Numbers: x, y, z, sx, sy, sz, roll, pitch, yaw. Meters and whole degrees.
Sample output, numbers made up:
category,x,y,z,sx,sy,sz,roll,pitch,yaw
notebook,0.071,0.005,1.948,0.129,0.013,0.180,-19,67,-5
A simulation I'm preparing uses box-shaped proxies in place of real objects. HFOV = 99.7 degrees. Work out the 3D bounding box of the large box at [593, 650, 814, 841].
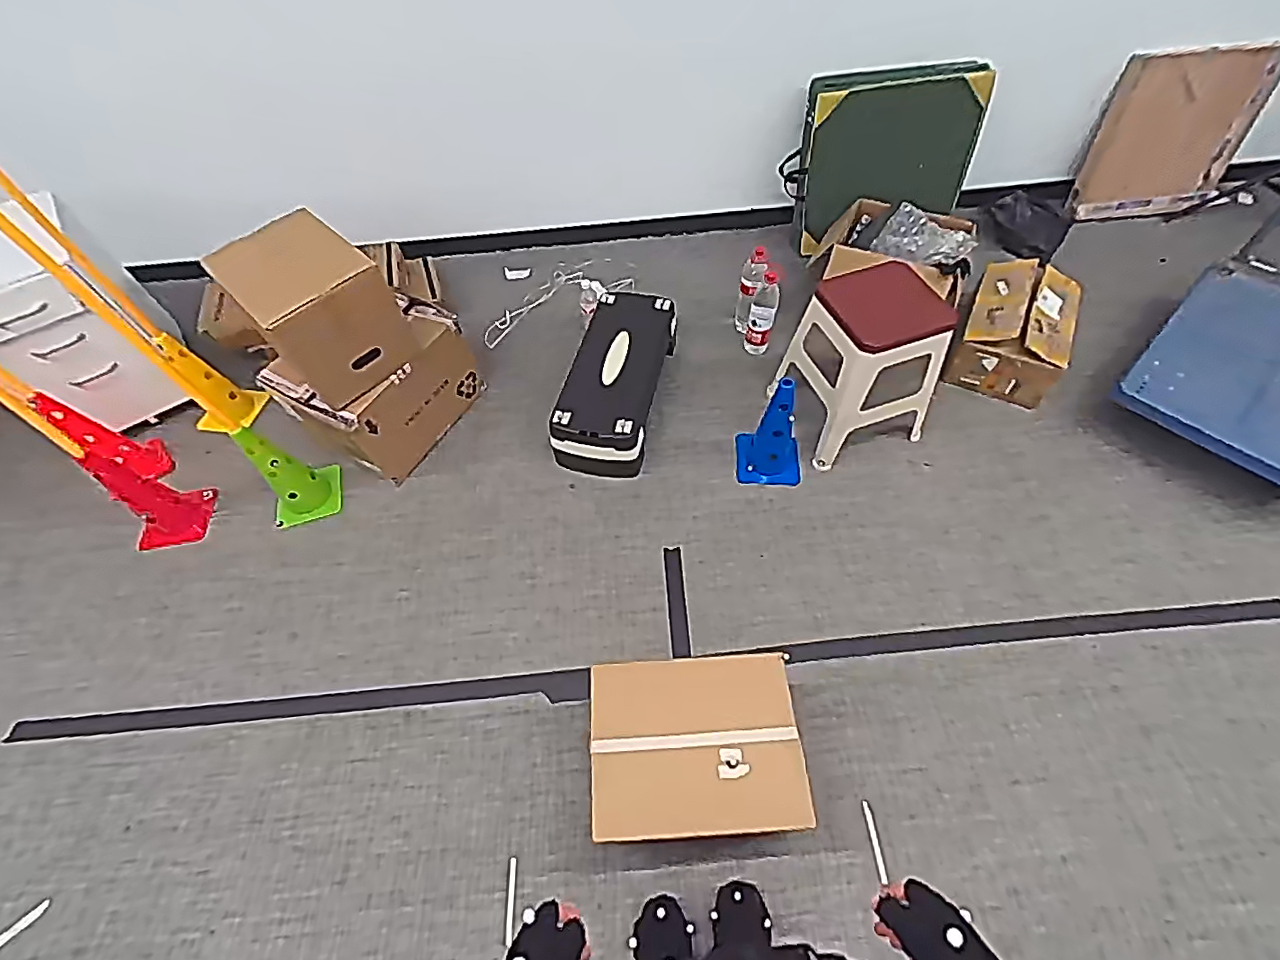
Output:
category,x,y,z,sx,sy,sz,roll,pitch,yaw
large box,0.114,0.585,1.181,0.408,0.320,0.320,-4,57,-1
